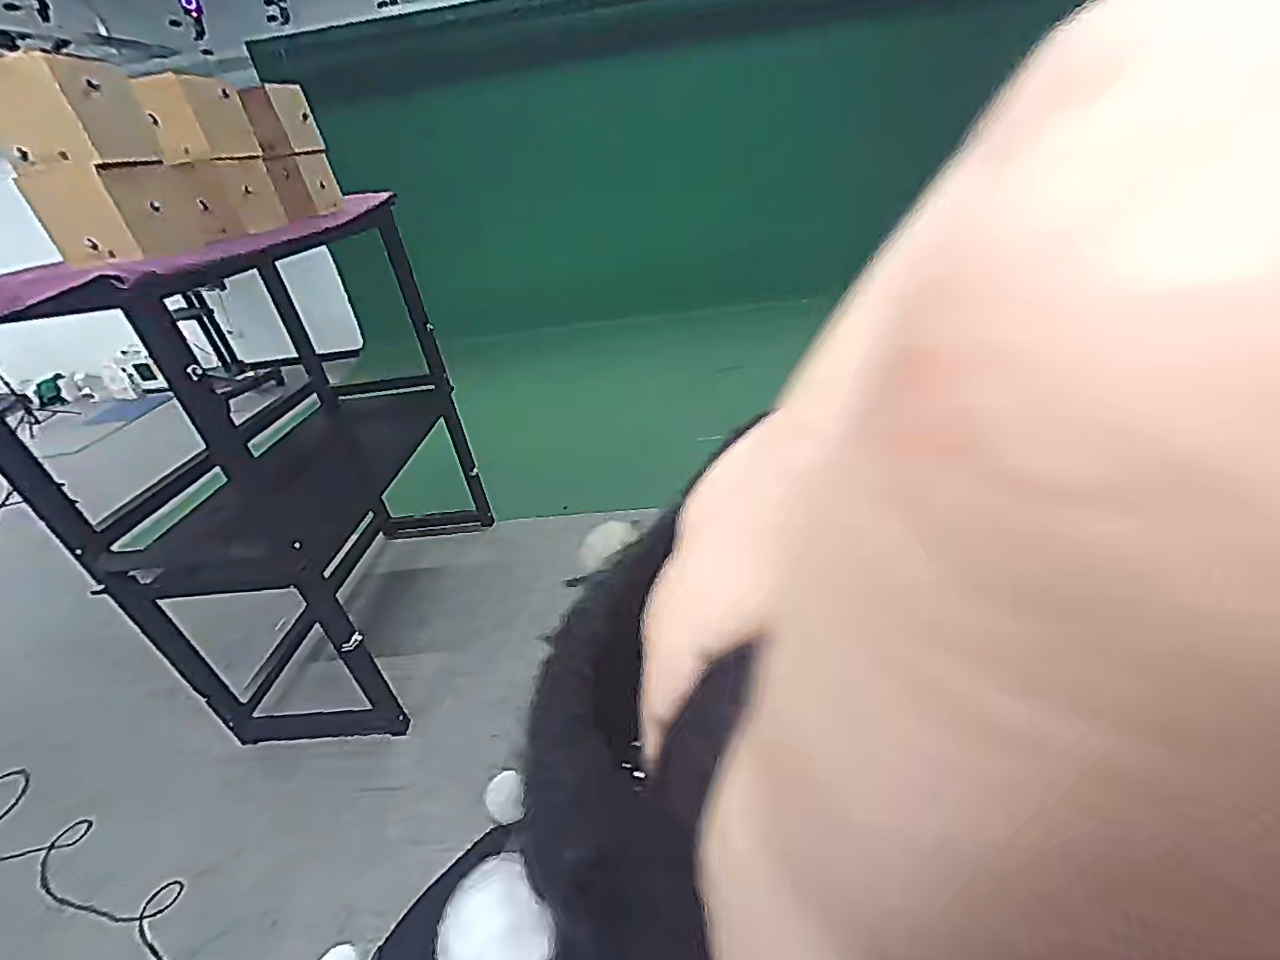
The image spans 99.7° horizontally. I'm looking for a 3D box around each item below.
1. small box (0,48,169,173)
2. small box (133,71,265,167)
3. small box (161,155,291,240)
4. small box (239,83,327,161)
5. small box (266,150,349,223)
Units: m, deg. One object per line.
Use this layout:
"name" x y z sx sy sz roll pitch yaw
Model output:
"small box" -1.051 -0.680 1.012 0.168 0.176 0.179 -7 32 1
"small box" -1.062 -0.862 1.305 0.168 0.176 0.179 -3 32 9
"small box" -1.047 -0.722 1.389 0.168 0.176 0.179 -4 33 6
"small box" -1.056 -1.041 1.582 0.168 0.176 0.179 -7 35 7
"small box" -1.046 -0.908 1.675 0.179 0.176 0.168 -6 33 7
